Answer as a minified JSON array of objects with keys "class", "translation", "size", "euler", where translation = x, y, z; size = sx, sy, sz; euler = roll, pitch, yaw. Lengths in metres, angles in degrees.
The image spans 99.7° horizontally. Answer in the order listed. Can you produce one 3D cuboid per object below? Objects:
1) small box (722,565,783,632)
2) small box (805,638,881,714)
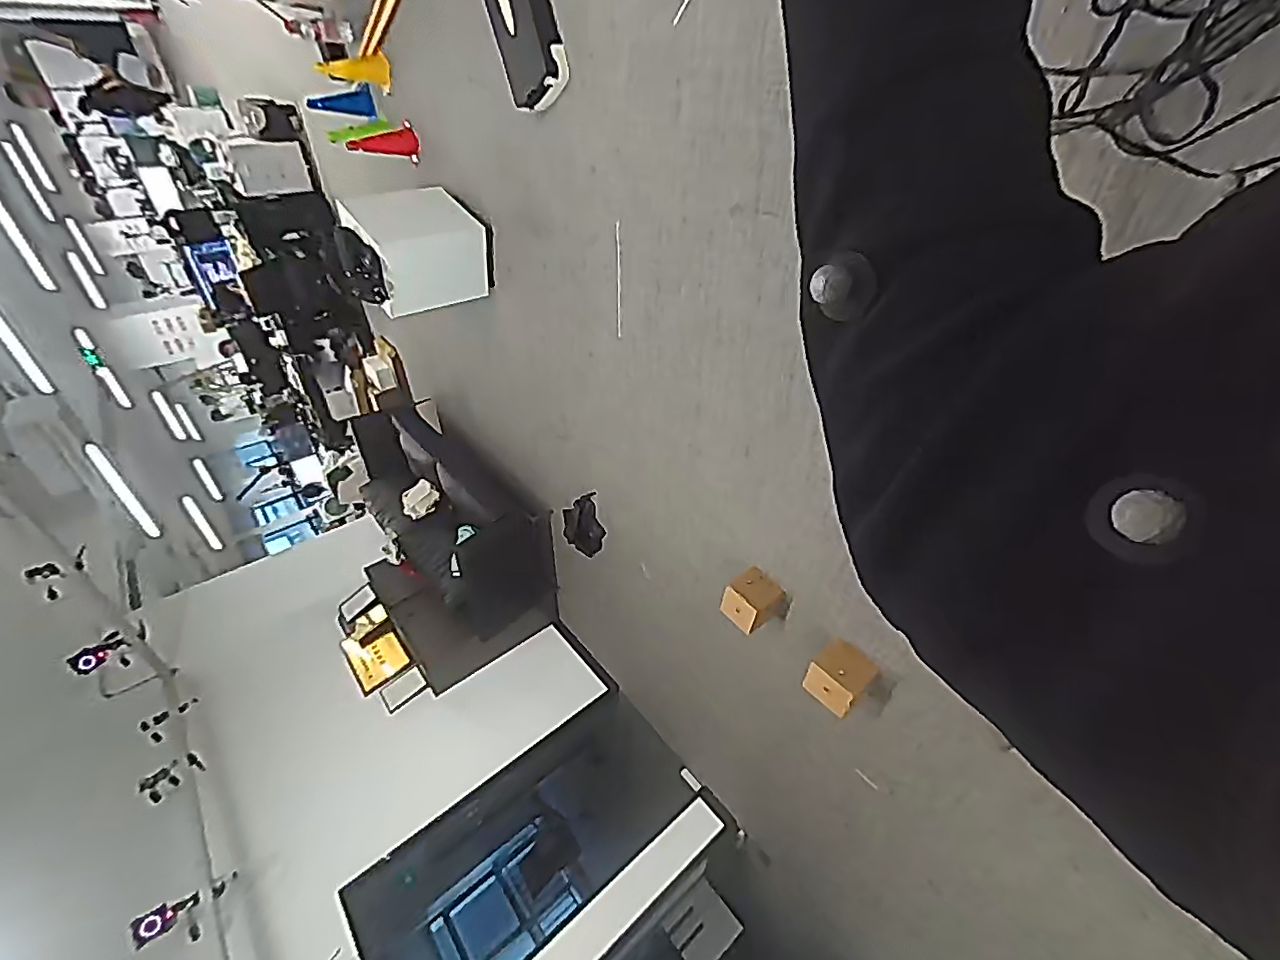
[{"class":"small box","translation":[0.465,0.482,2.223],"size":[0.168,0.176,0.179],"euler":[41,144,34]},{"class":"small box","translation":[0.743,0.709,1.984],"size":[0.179,0.176,0.168],"euler":[36,140,36]}]
